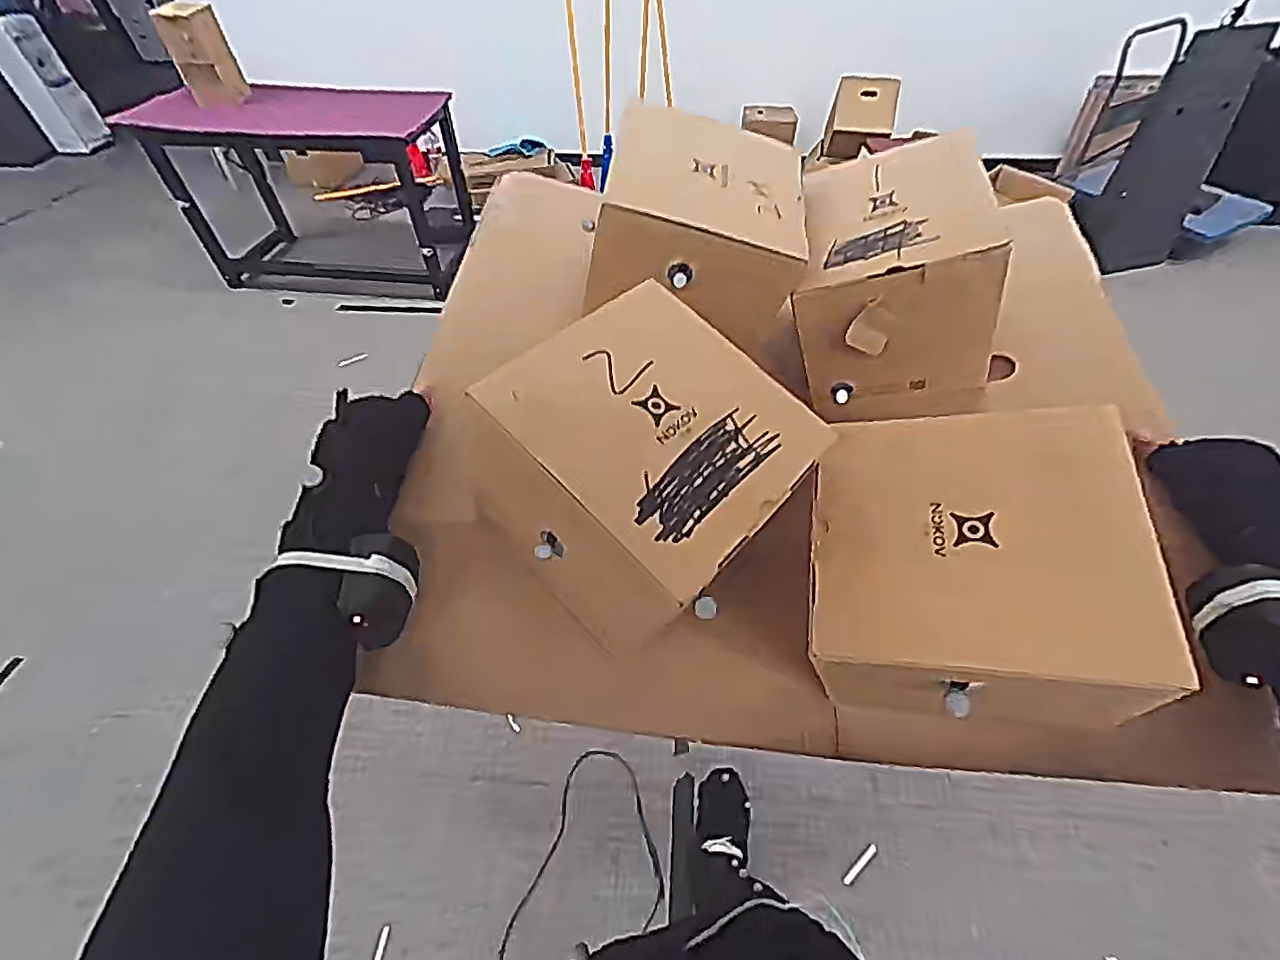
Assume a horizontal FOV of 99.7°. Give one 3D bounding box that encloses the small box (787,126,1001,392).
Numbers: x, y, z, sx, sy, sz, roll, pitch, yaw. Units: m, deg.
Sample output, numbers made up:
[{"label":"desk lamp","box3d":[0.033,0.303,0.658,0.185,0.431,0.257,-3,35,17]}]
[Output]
[{"label":"small box","box3d":[0.247,-0.206,0.550,0.168,0.176,0.179,-5,57,22]}]
